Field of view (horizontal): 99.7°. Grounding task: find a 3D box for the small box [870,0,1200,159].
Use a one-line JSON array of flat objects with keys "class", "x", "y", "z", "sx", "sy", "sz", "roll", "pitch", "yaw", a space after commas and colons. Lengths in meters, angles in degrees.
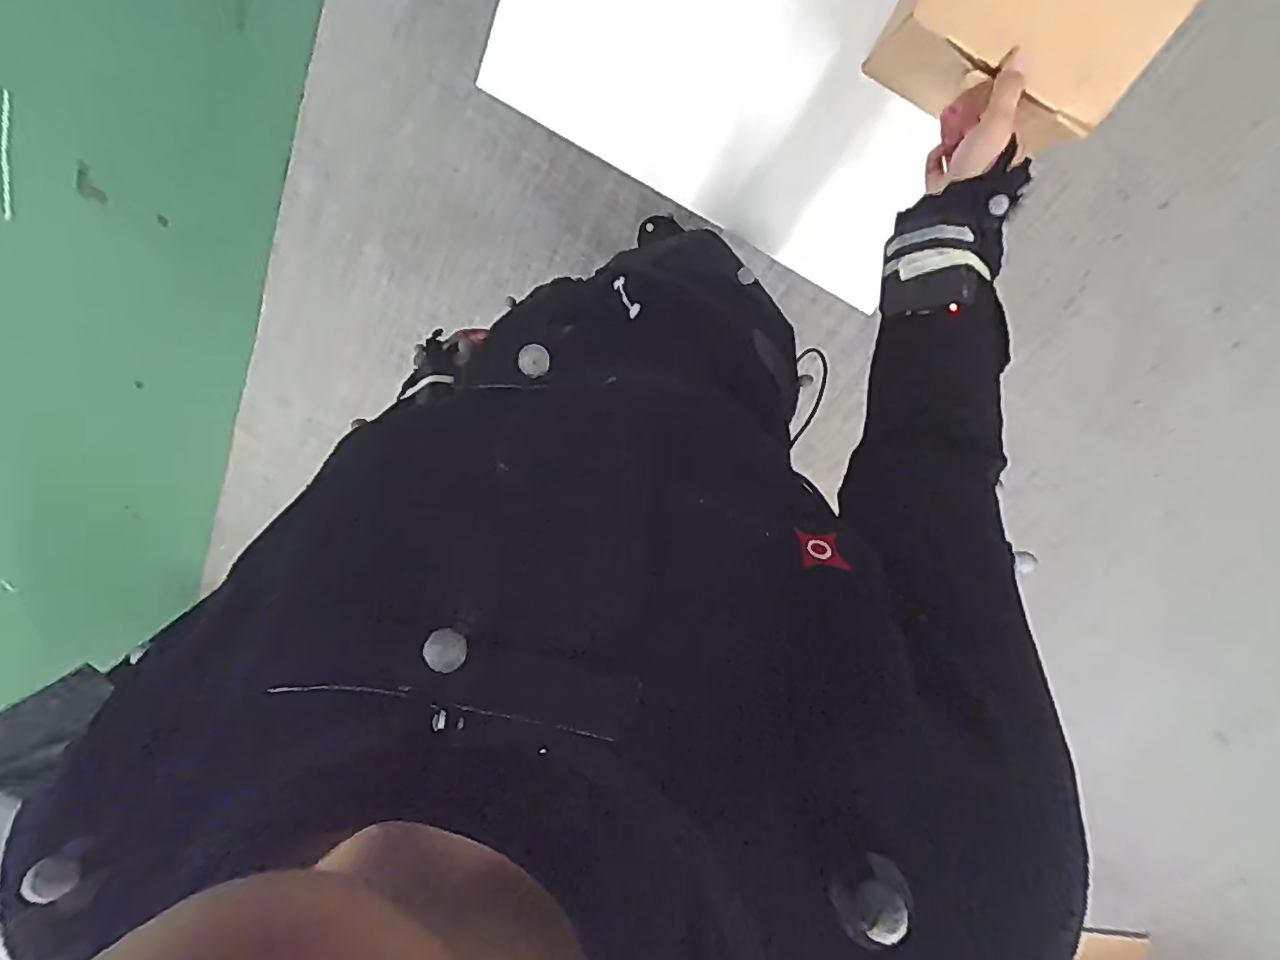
[{"class": "small box", "x": 0.312, "y": -0.388, "z": 0.434, "sx": 0.168, "sy": 0.176, "sz": 0.179, "roll": 27, "pitch": 116, "yaw": -6}]
